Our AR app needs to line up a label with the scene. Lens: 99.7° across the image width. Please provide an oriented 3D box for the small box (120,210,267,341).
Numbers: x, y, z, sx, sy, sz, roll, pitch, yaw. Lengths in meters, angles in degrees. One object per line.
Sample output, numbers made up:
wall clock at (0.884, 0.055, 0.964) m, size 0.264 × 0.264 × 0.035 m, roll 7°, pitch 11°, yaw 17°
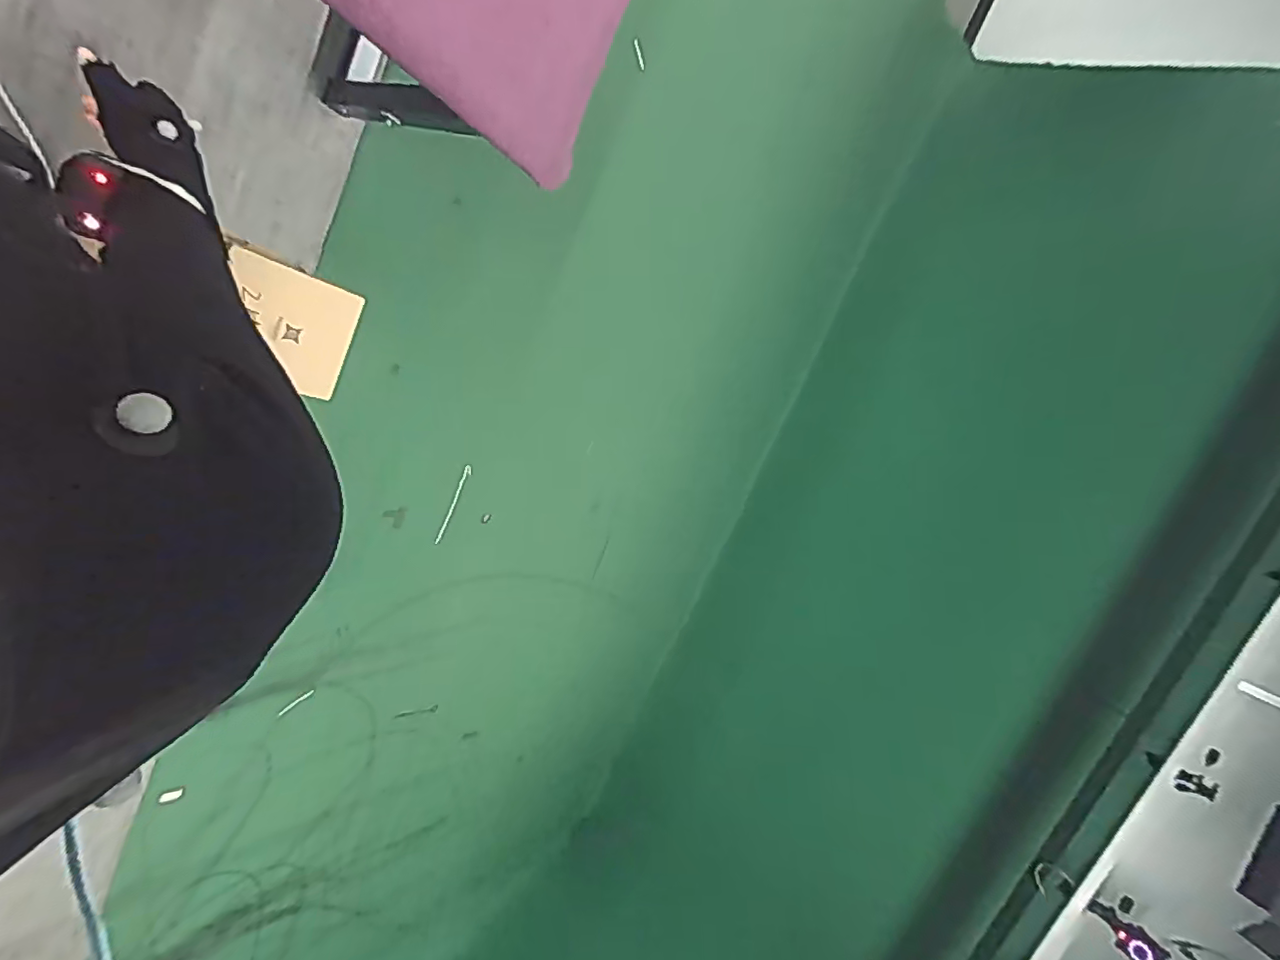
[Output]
small box at (-0.690, -0.300, 0.868) m, size 0.168 × 0.176 × 0.179 m, roll 18°, pitch 99°, yaw -59°

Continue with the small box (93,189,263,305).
small box at (-0.811, -0.375, 0.948) m, size 0.168 × 0.176 × 0.179 m, roll 20°, pitch 97°, yaw -59°

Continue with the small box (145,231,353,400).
small box at (-0.564, -0.236, 0.783) m, size 0.179 × 0.176 × 0.168 m, roll 13°, pitch 103°, yaw -58°
